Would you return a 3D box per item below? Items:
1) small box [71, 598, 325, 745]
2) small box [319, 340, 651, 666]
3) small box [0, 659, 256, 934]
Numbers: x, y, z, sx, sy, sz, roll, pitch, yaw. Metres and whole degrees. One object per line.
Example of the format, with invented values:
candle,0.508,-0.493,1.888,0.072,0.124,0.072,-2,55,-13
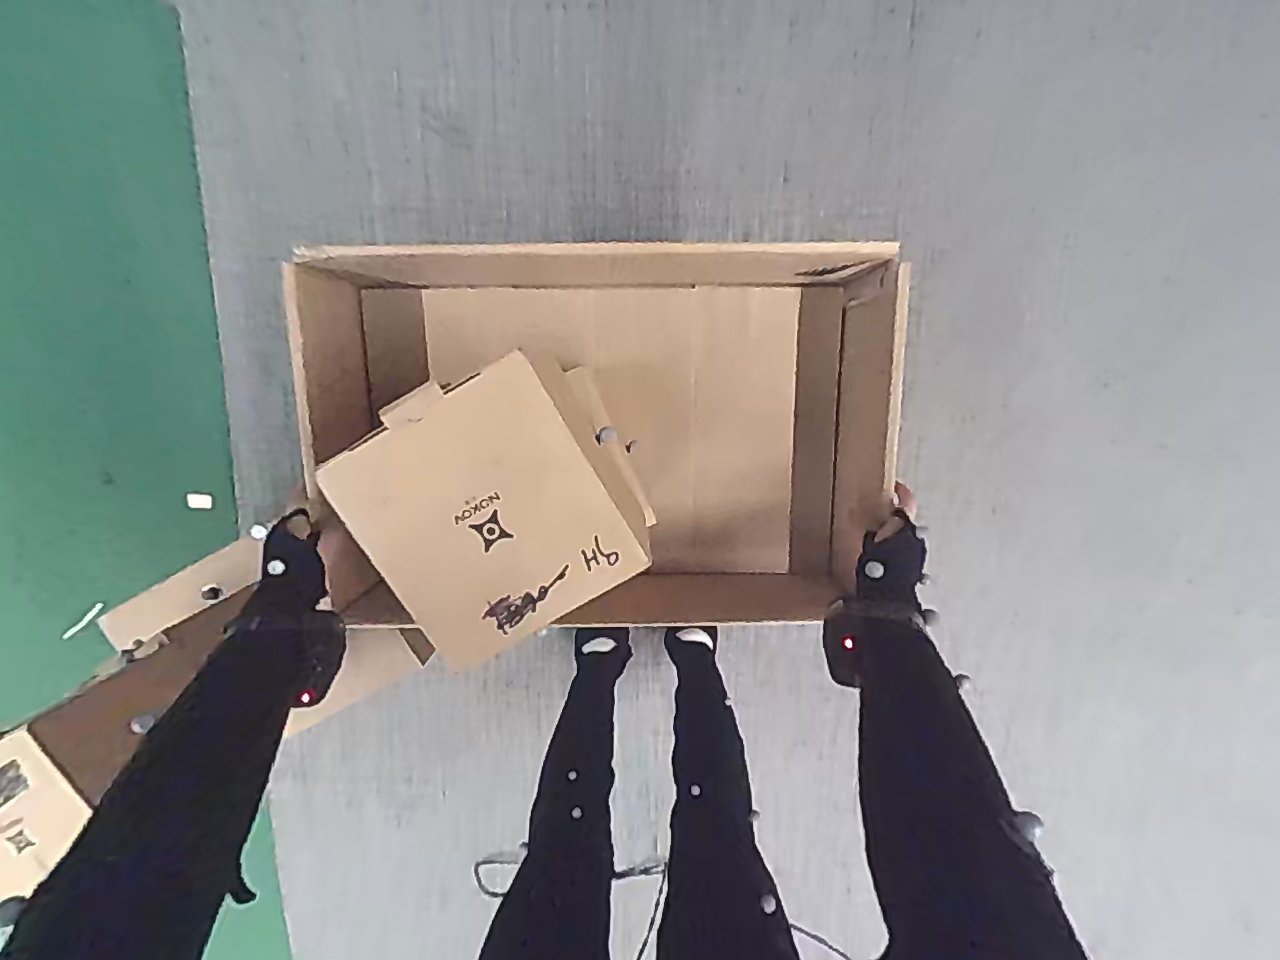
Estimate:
small box,-0.596,0.287,0.755,0.168,0.176,0.179,-33,98,5
small box,-0.106,0.009,0.446,0.168,0.176,0.179,-30,98,4
small box,-0.588,0.324,0.595,0.168,0.176,0.179,-28,100,4
